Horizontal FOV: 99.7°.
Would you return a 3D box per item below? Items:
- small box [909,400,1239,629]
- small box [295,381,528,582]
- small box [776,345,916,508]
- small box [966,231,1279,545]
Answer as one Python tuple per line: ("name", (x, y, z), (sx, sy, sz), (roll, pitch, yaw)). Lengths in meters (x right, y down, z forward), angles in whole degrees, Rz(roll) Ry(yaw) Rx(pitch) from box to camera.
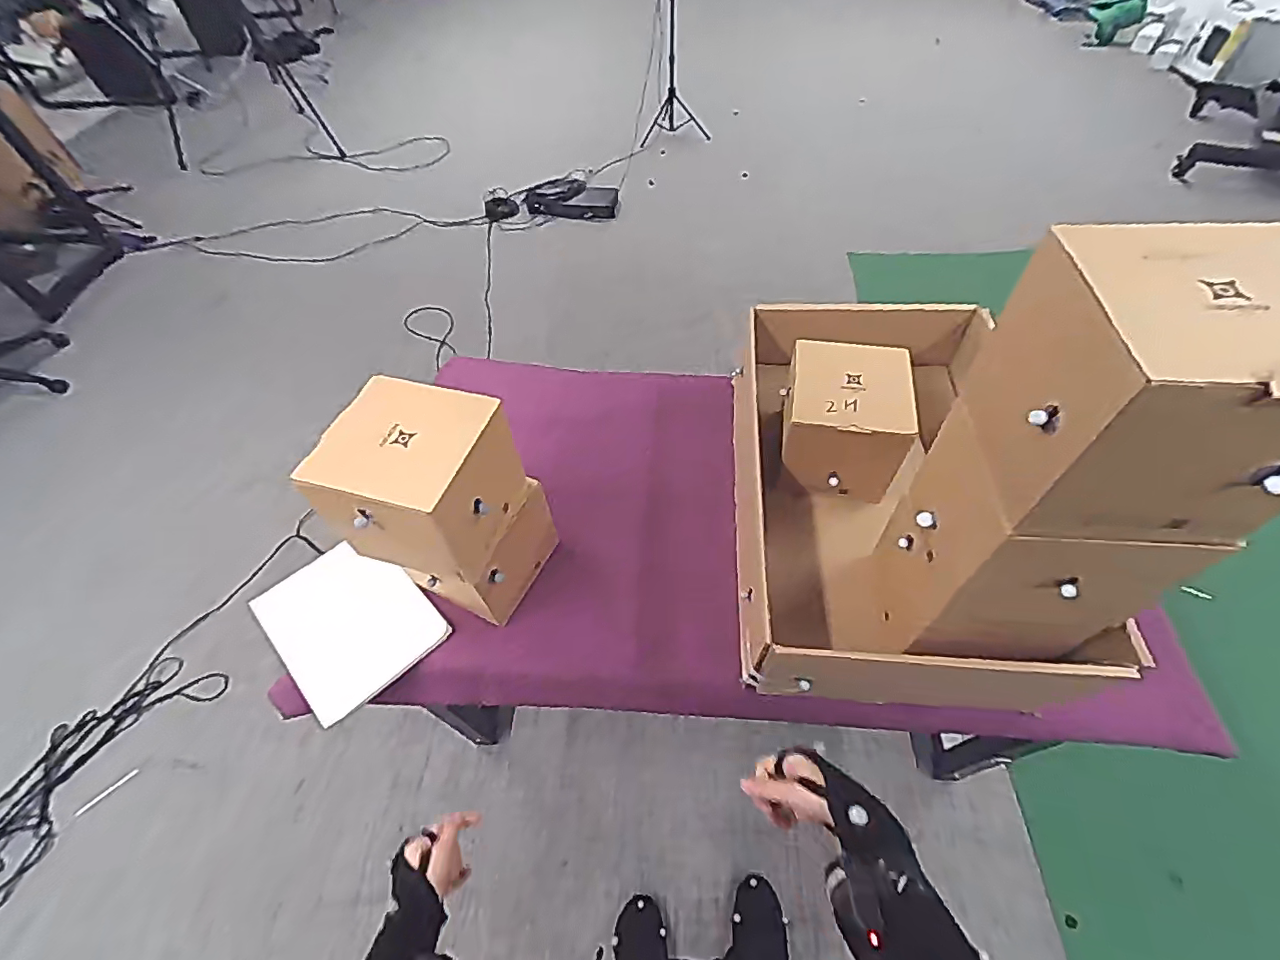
("small box", (0.397, 0.038, 0.540), (0.179, 0.176, 0.168), (2, 53, 8))
("small box", (-0.258, 0.007, 0.663), (0.179, 0.176, 0.168), (12, 55, 13))
("small box", (0.310, -0.082, 0.843), (0.168, 0.176, 0.179), (8, 55, 10))
("small box", (0.385, -0.066, 0.415), (0.168, 0.176, 0.179), (3, 52, 7))
